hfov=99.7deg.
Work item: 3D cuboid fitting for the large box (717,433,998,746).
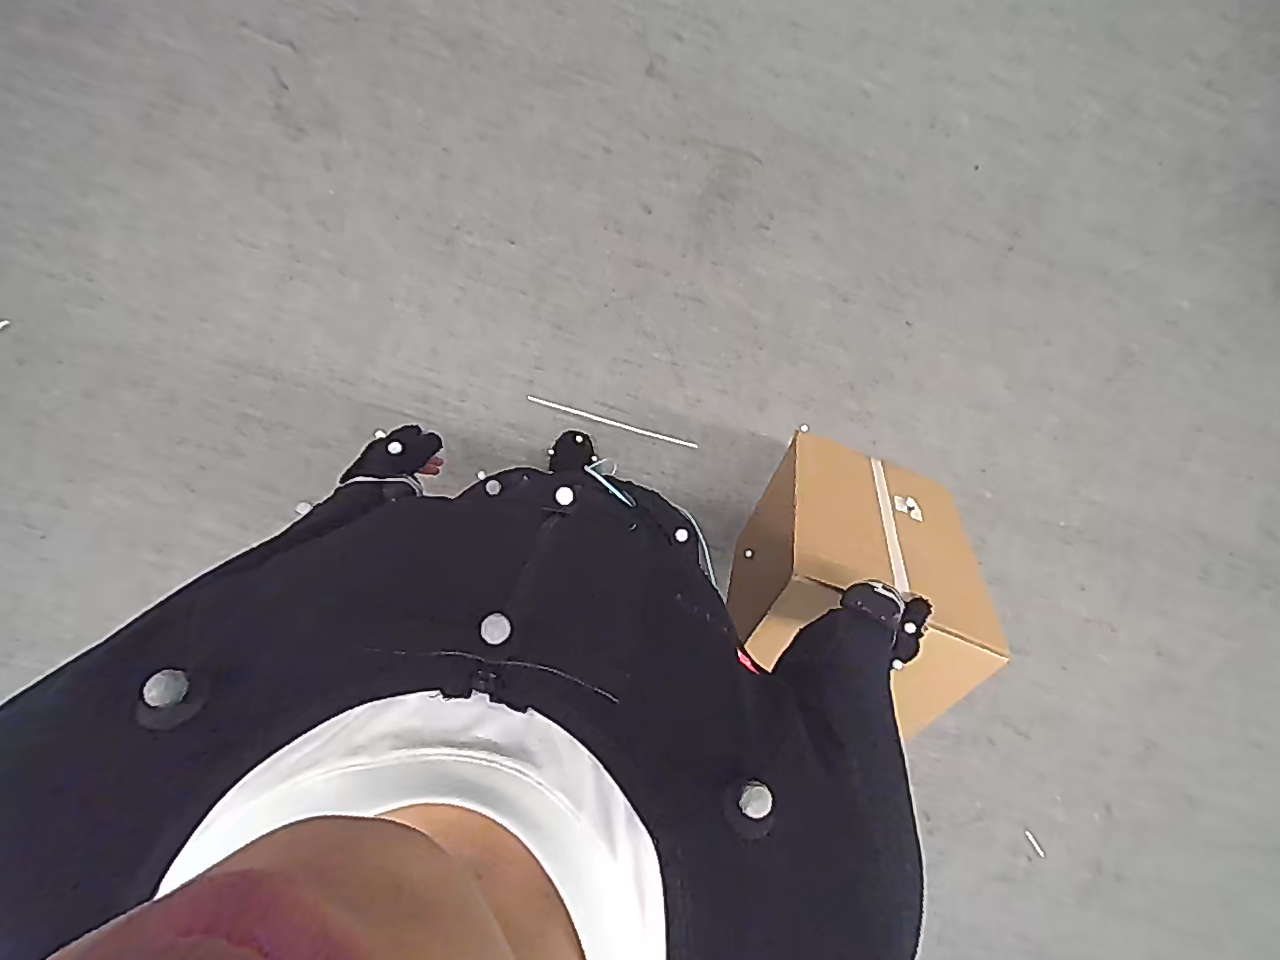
[{"bbox_3d":[0.354,0.183,0.985,0.320,0.408,0.320,23,127,1],"label":"large box"}]
